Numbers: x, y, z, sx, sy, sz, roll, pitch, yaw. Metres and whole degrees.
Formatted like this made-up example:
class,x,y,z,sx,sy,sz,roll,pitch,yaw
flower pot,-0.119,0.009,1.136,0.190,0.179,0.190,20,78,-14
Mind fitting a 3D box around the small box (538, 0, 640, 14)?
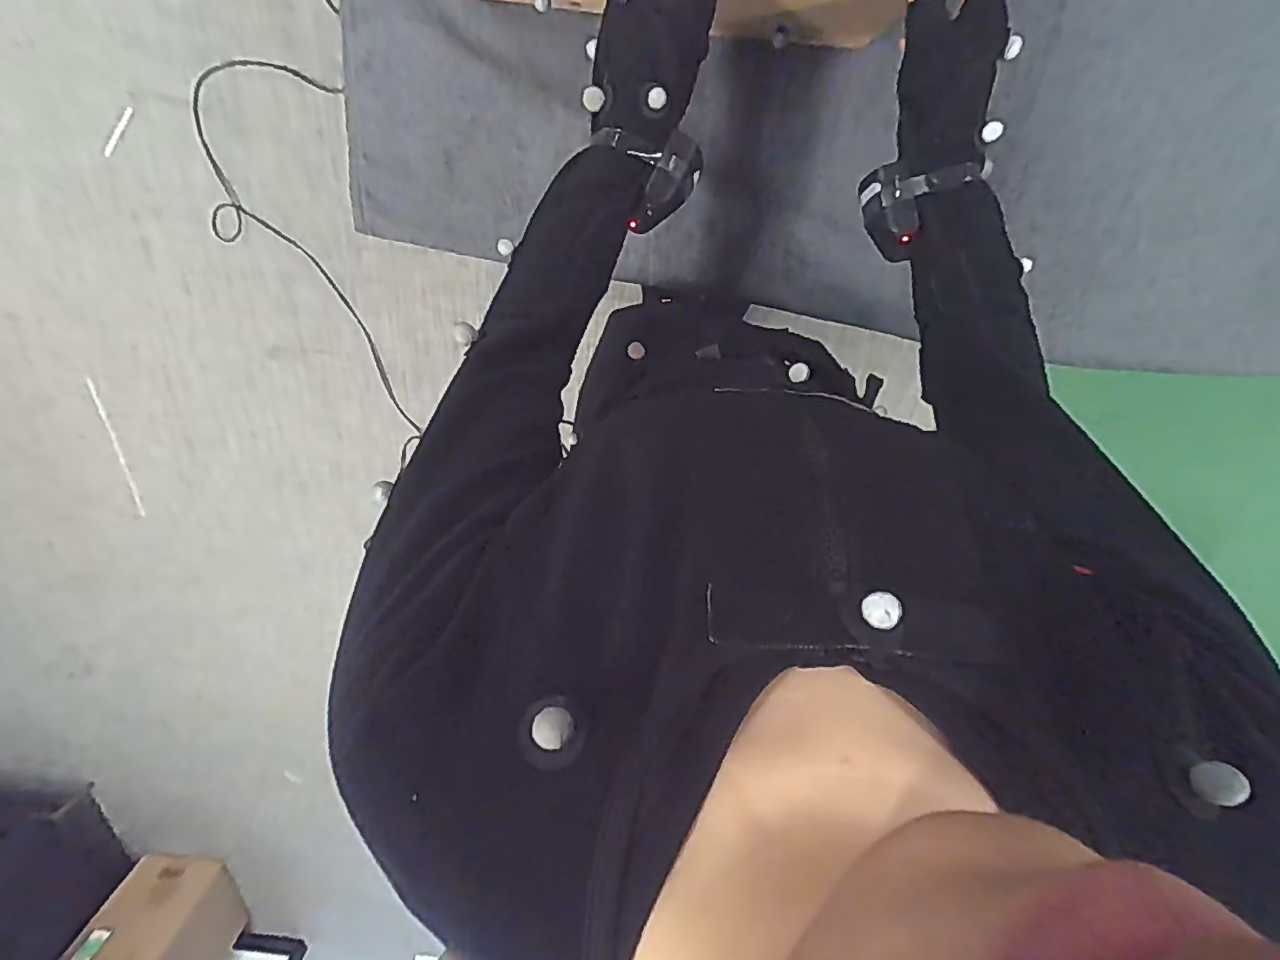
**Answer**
class,x,y,z,sx,sy,sz,roll,pitch,yaw
small box,-0.074,-0.507,0.418,0.168,0.176,0.179,8,117,0
